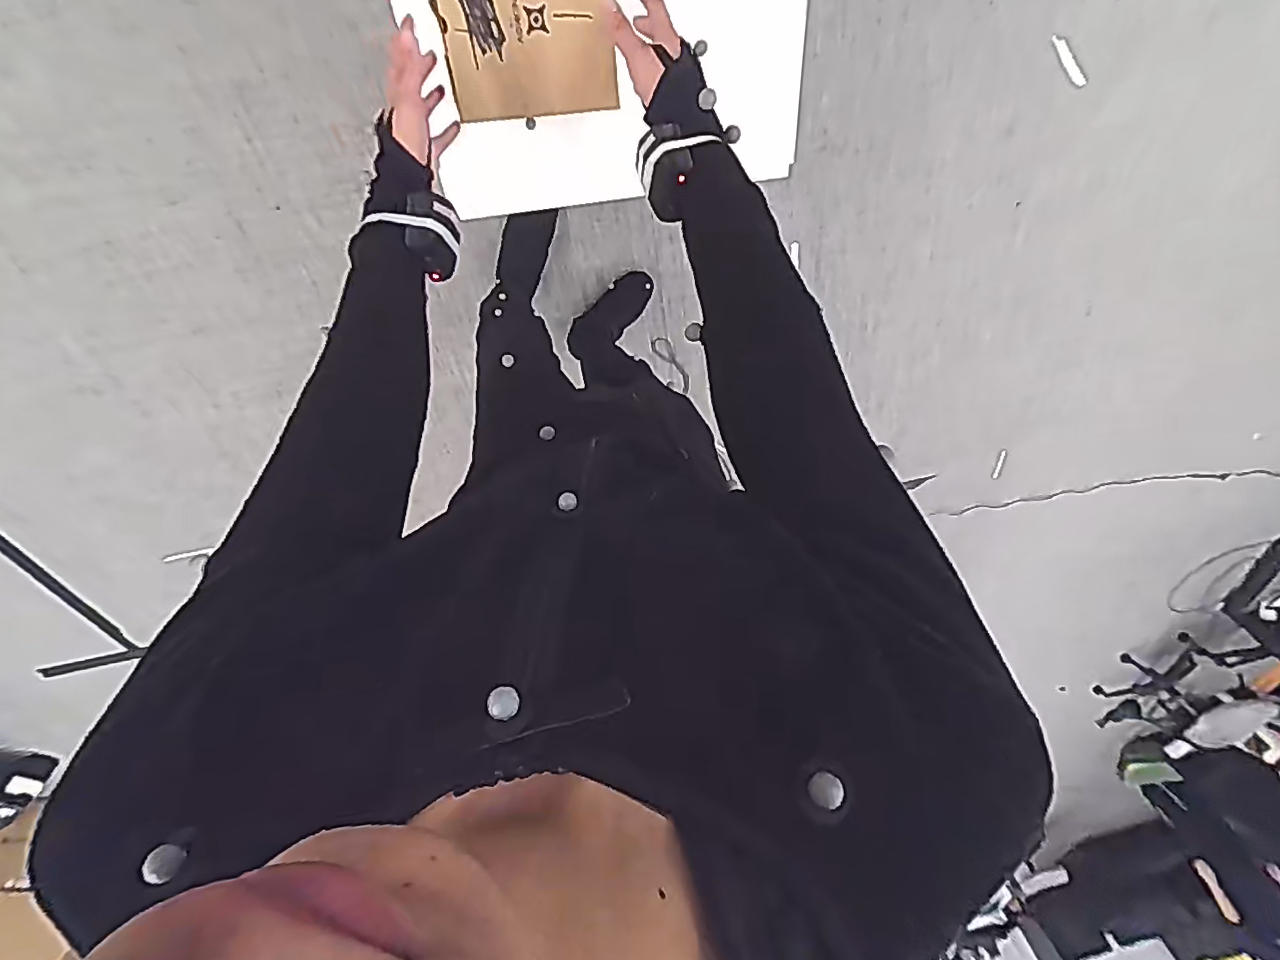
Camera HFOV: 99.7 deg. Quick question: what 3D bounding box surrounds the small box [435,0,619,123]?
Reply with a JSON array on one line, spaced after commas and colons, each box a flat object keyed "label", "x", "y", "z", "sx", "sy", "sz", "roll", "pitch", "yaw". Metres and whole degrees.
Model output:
[{"label": "small box", "x": -0.126, "y": -0.505, "z": 0.604, "sx": 0.179, "sy": 0.176, "sz": 0.168, "roll": -10, "pitch": 128, "yaw": -7}]
